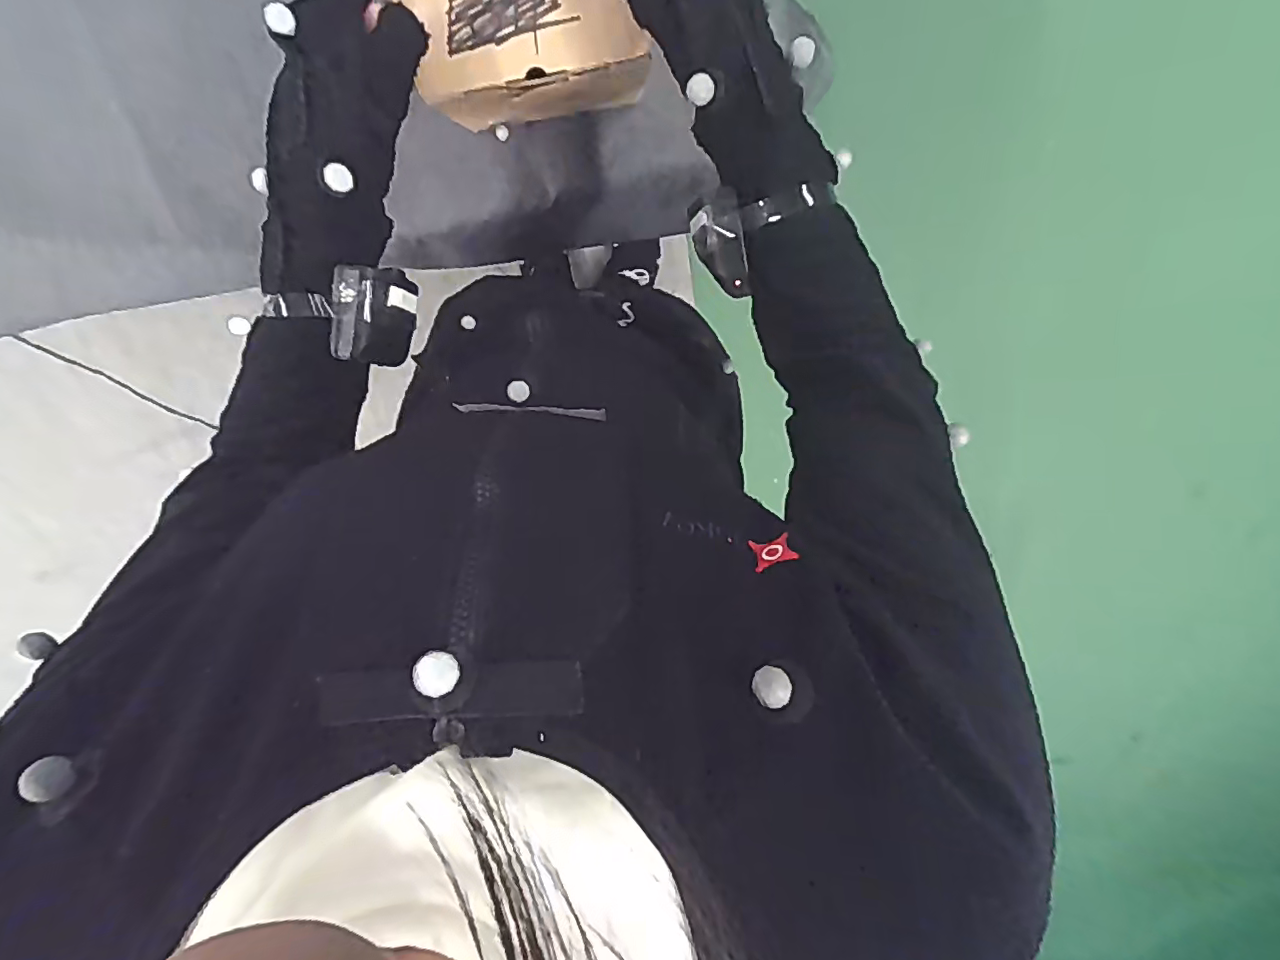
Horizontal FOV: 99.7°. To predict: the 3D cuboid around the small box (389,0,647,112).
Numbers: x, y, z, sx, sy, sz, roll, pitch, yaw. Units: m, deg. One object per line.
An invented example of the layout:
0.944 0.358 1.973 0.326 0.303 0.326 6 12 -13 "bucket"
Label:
-0.090 -0.391 0.397 0.168 0.176 0.179 -11 117 2 "small box"
